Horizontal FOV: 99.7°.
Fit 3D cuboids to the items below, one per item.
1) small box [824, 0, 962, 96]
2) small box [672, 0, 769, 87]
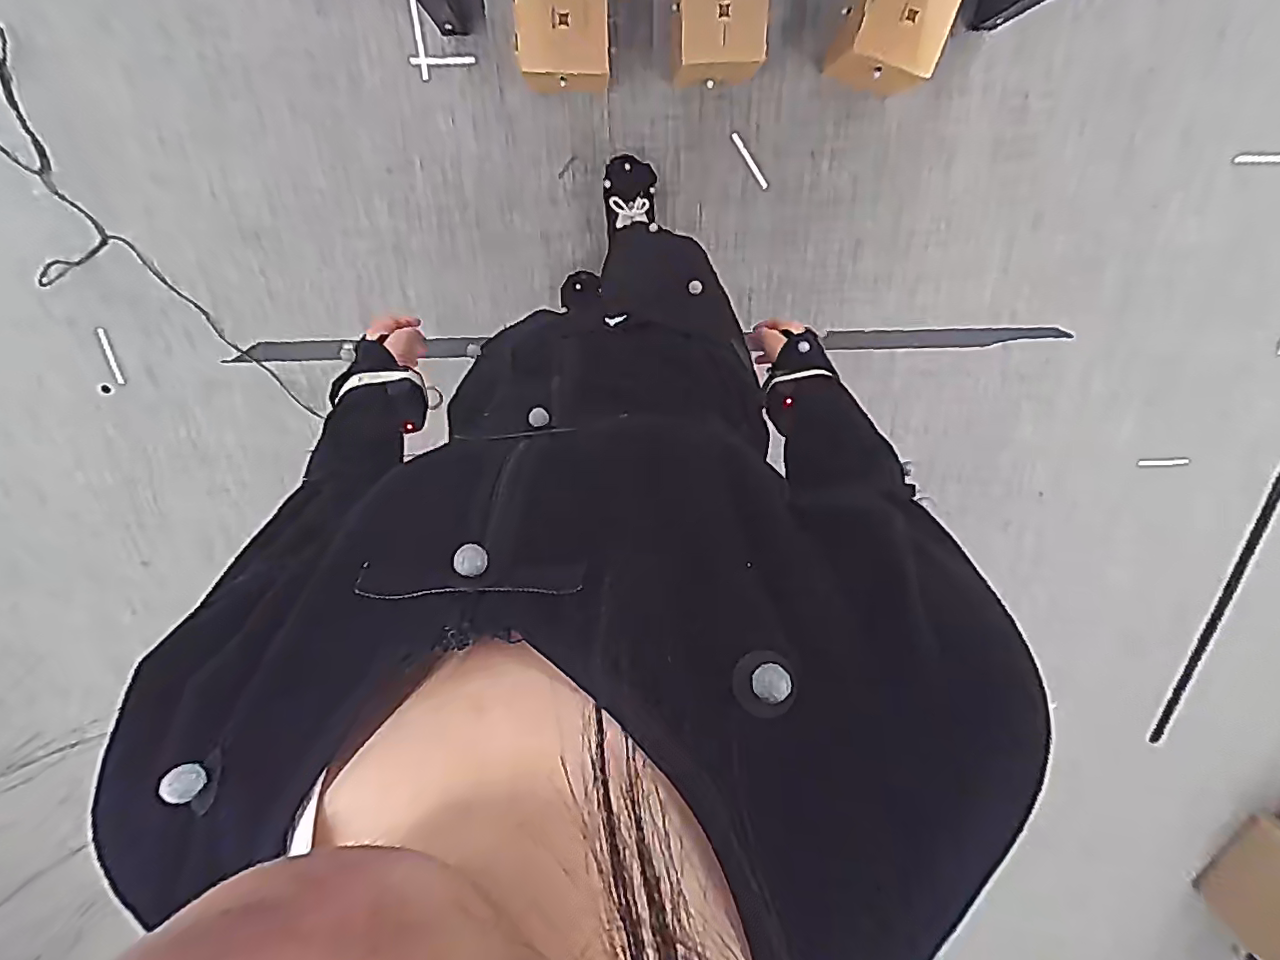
[{"bbox_3d":[0.511,-0.917,1.105,0.179,0.176,0.168,14,112,-8],"label":"small box"},{"bbox_3d":[0.155,-0.914,1.081,0.168,0.176,0.179,-3,114,-2],"label":"small box"}]
